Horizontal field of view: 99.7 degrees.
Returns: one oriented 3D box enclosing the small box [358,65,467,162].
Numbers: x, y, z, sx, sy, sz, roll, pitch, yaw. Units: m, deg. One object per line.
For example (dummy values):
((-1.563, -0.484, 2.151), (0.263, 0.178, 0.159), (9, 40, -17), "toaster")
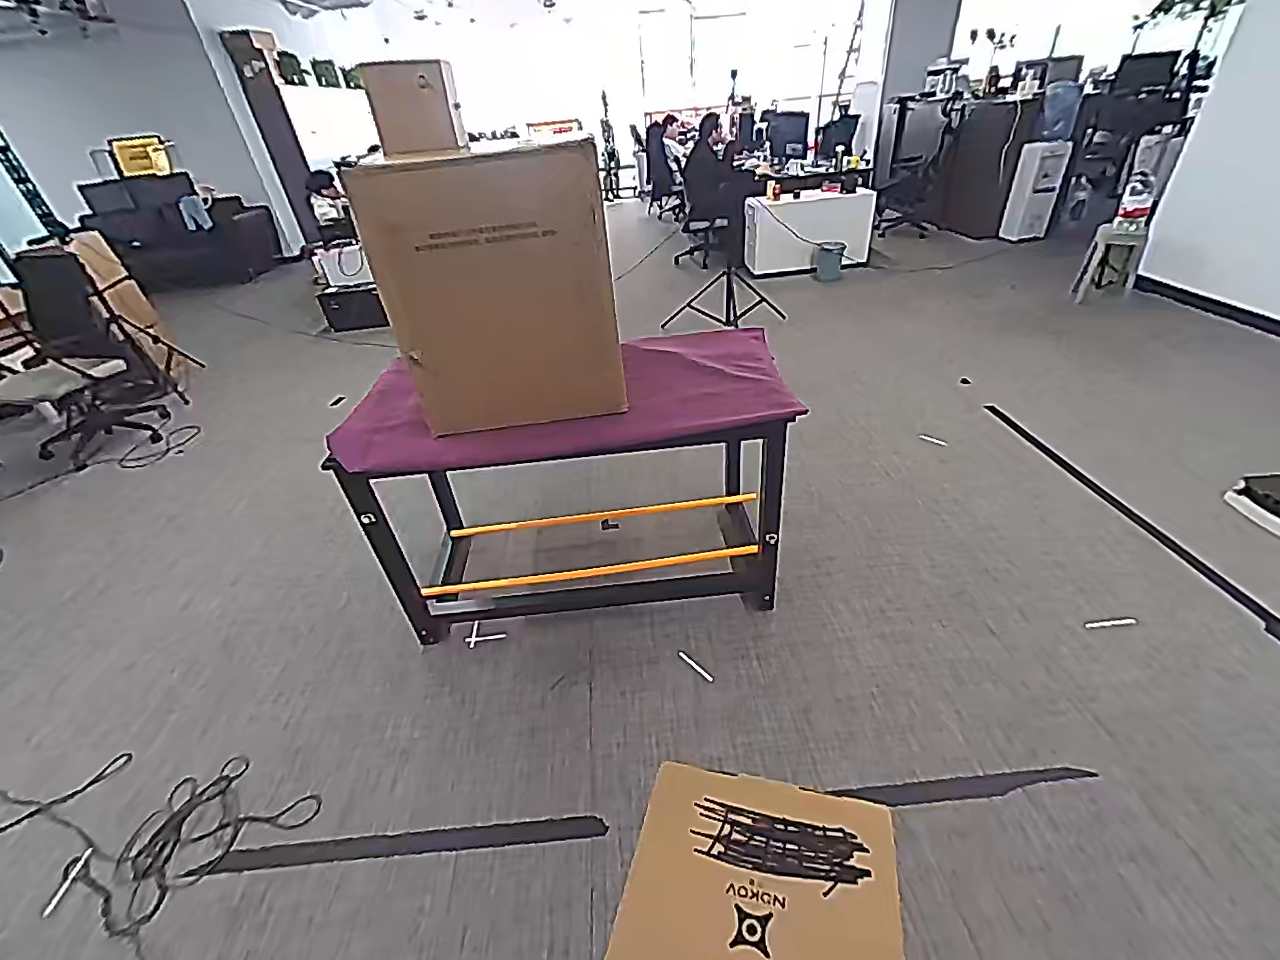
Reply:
((-0.515, -0.850, 1.258), (0.179, 0.176, 0.168), (-7, 34, -3), "small box")
